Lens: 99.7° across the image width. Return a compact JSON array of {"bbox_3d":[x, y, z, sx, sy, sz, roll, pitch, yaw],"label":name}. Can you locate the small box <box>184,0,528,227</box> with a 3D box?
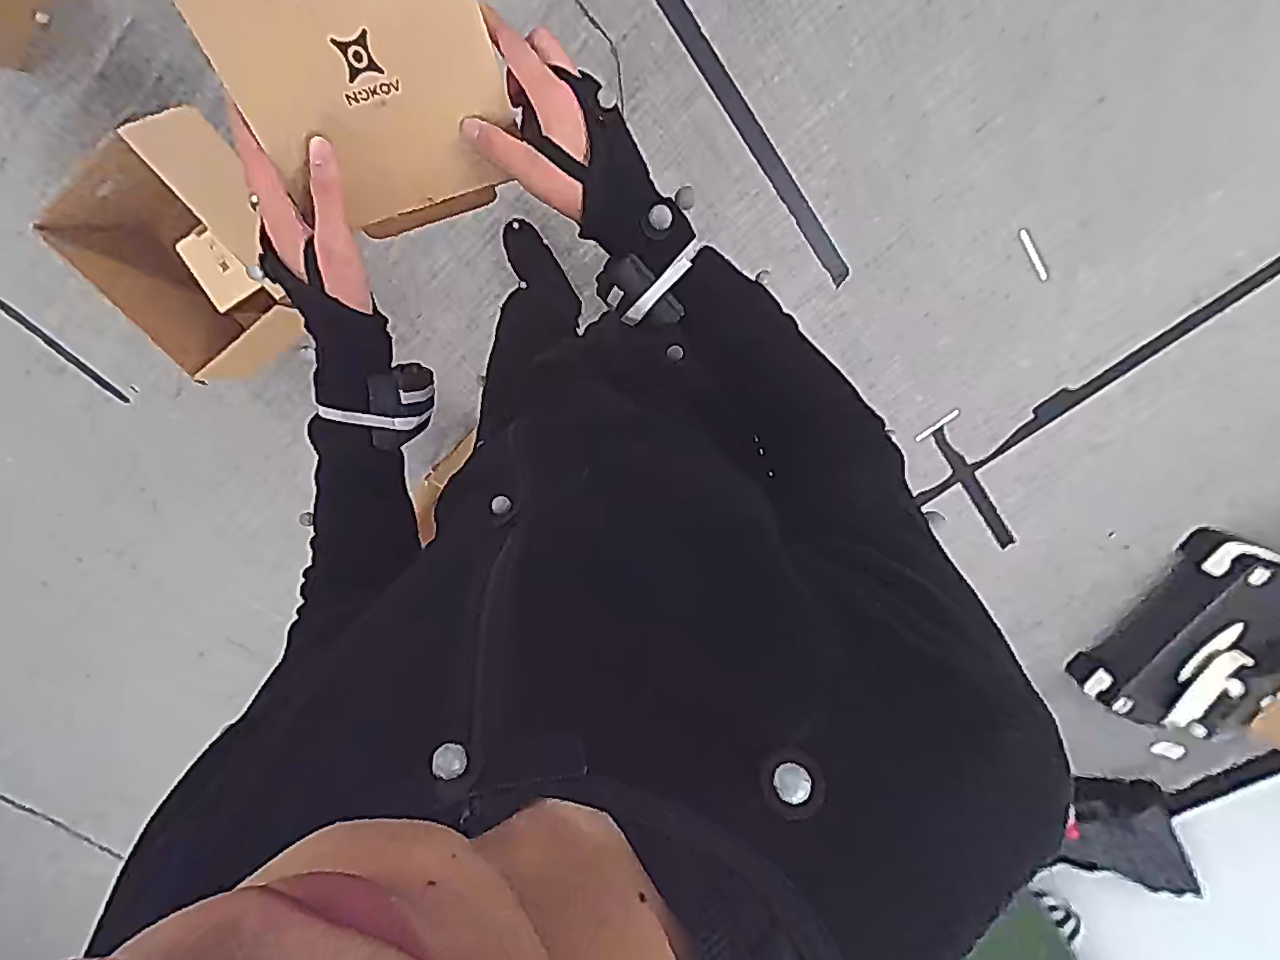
[{"bbox_3d":[-0.190,-0.318,0.397,0.168,0.176,0.179,-18,131,-1],"label":"small box"}]
